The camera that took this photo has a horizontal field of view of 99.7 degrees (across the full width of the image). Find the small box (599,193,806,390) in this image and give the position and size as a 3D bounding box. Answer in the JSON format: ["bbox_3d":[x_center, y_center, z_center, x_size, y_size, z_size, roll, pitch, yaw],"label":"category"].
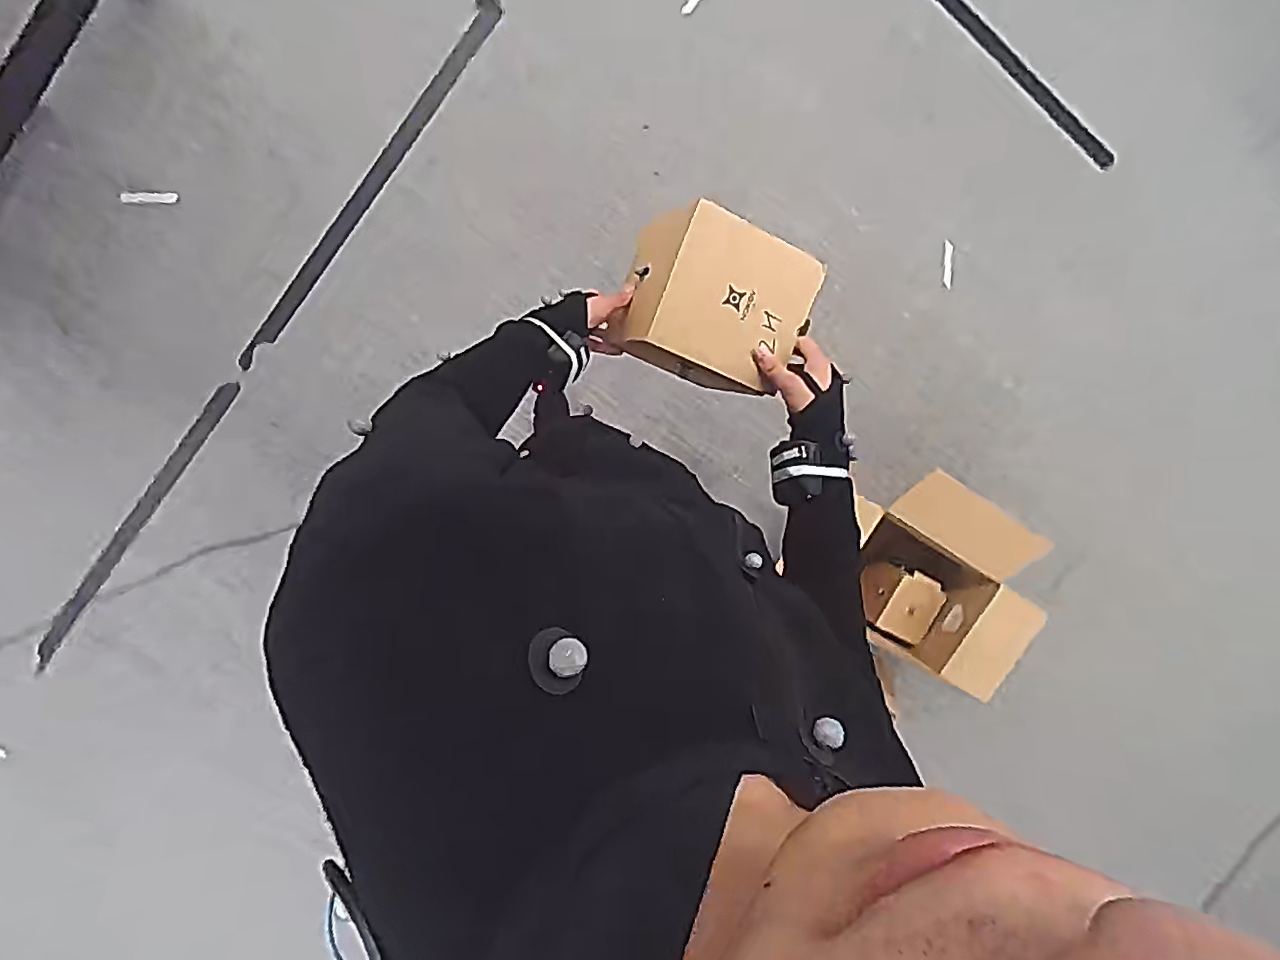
[{"bbox_3d":[0.067,-0.225,0.690,0.179,0.176,0.168,19,96,-25],"label":"small box"}]
